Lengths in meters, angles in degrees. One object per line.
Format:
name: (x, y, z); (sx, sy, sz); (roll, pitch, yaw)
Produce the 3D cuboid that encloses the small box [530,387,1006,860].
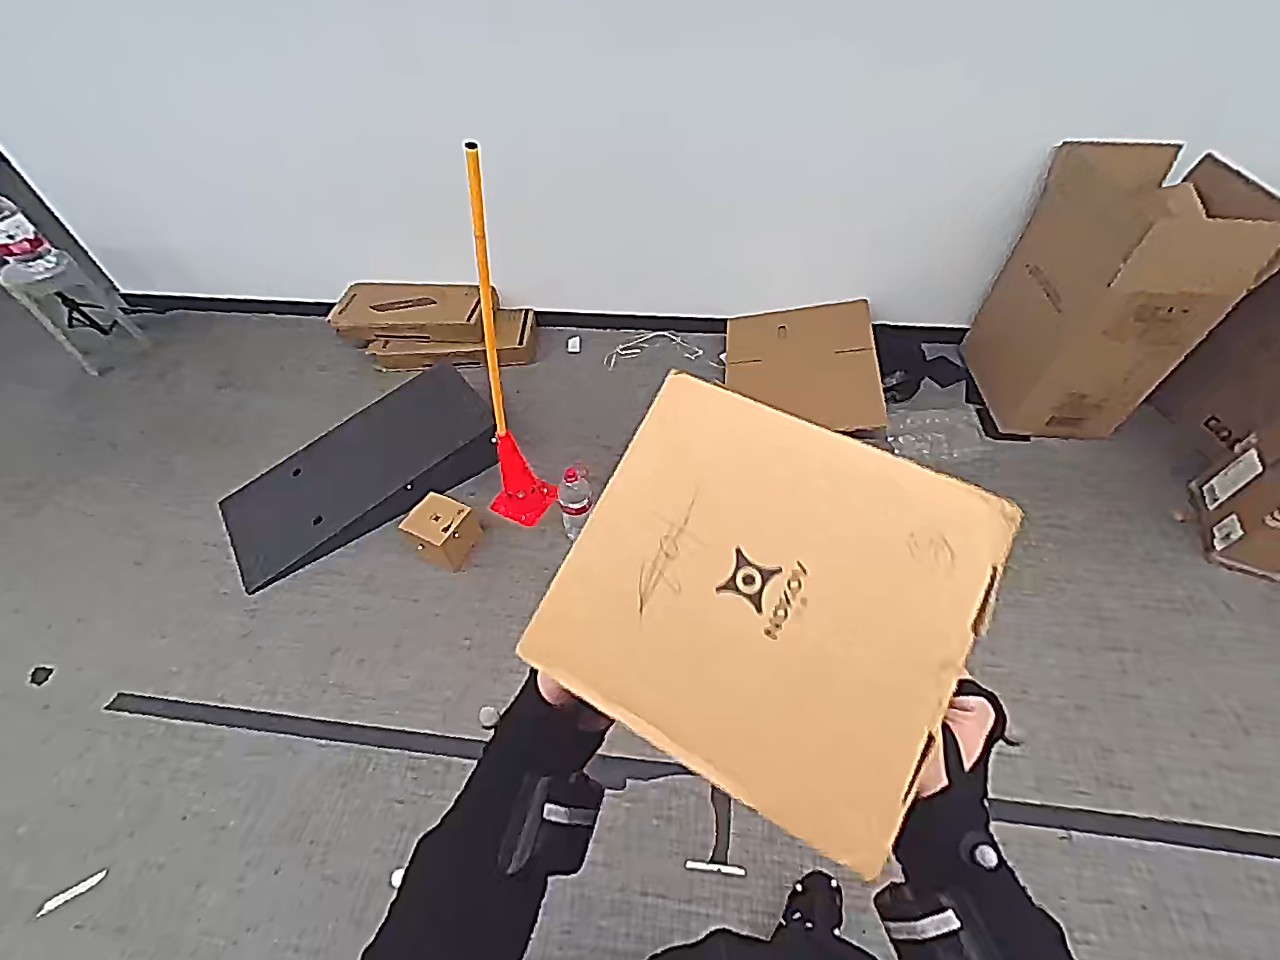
small box: (0.072, 0.077, 0.331); (0.179, 0.176, 0.168); (24, 75, 19)
